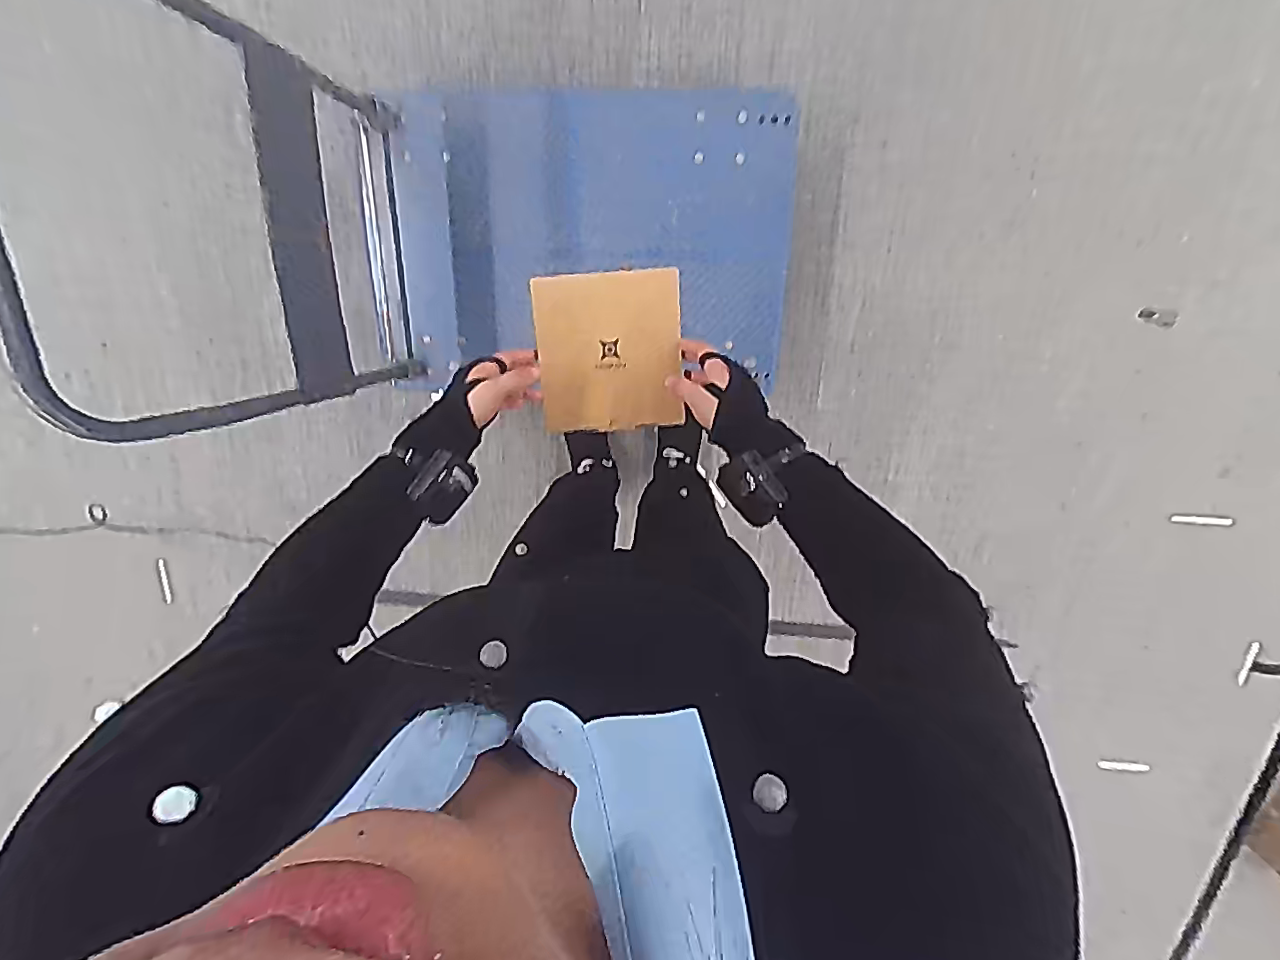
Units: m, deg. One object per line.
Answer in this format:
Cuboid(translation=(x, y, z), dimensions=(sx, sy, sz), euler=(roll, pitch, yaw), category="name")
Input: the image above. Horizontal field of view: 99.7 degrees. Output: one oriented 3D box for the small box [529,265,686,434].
Cuboid(translation=(-0.034, -0.165, 0.676), dimensions=(0.168, 0.176, 0.179), euler=(-4, 109, 2), category="small box")
